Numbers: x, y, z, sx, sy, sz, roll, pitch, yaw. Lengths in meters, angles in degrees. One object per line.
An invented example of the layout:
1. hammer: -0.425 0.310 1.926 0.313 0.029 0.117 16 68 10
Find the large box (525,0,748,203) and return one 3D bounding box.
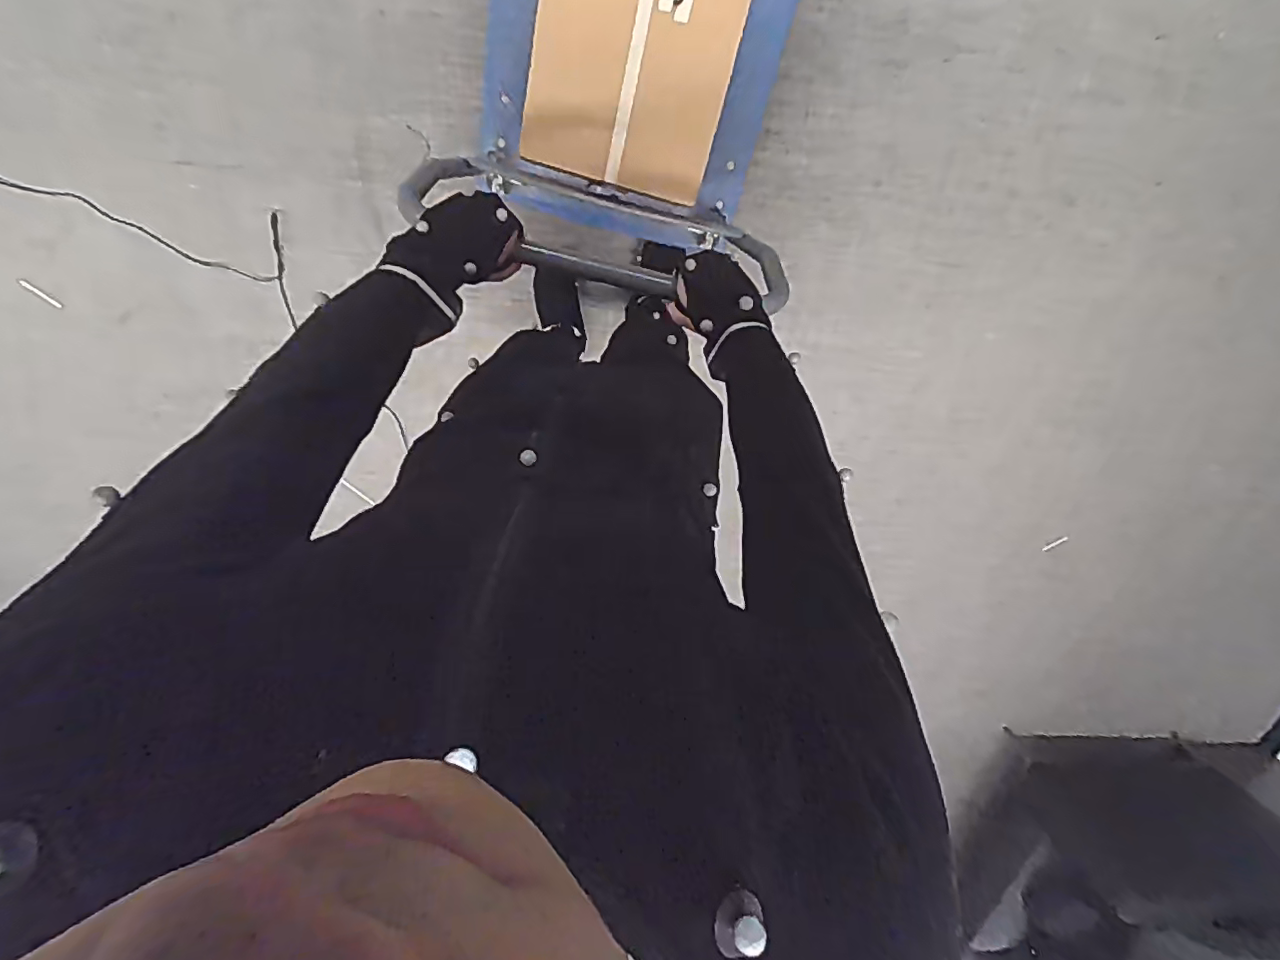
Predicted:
1. large box: -0.008 -0.763 0.989 0.320 0.320 0.408 12 116 -9
